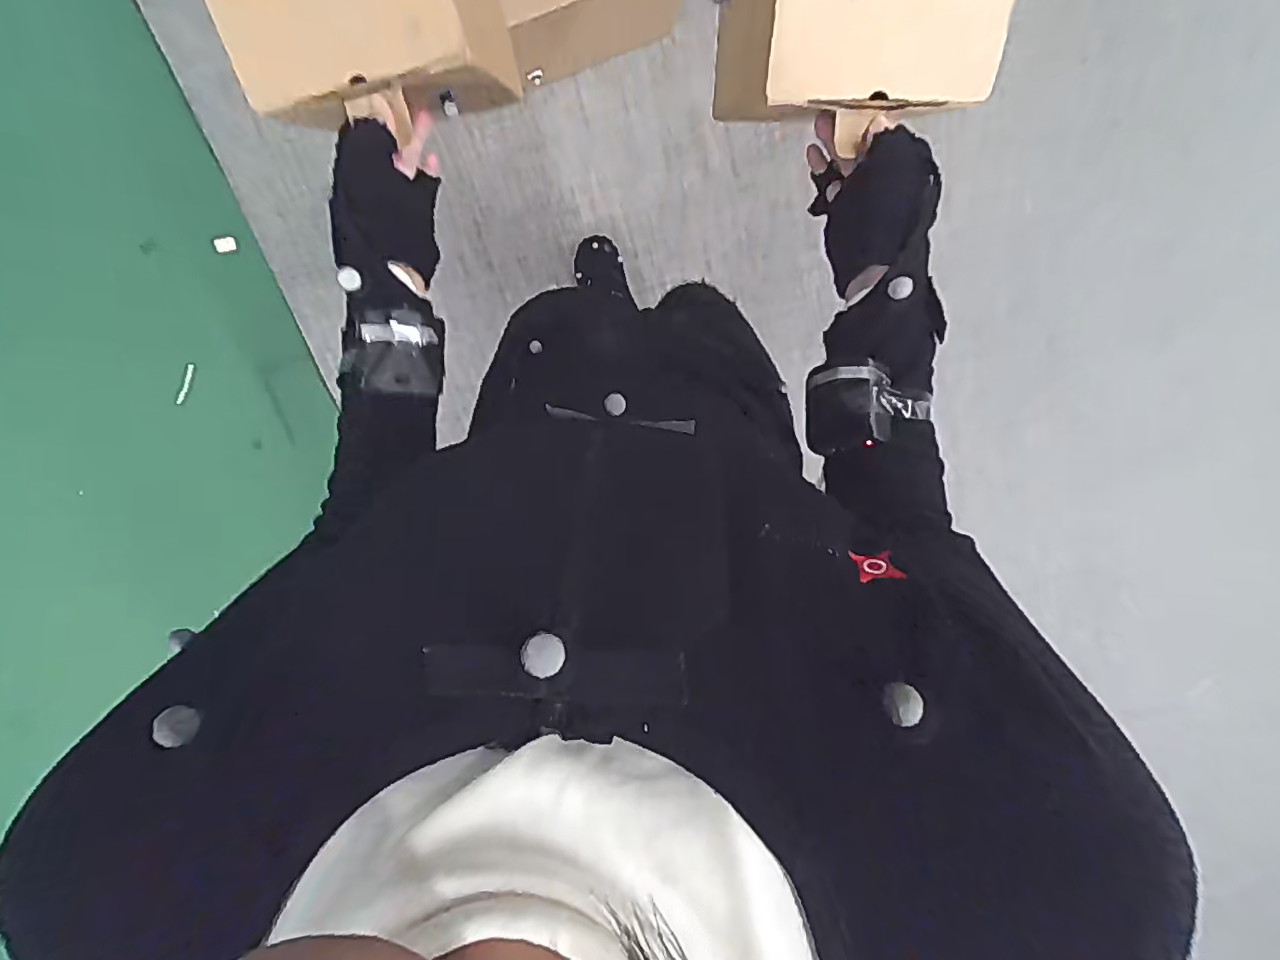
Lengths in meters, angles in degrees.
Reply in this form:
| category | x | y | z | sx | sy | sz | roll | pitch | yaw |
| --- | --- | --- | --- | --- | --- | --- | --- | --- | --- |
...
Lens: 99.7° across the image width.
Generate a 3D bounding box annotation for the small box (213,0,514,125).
| category | x | y | z | sx | sy | sz | roll | pitch | yaw |
| --- | --- | --- | --- | --- | --- | --- | --- | --- | --- |
| small box | -0.213 | -0.397 | 0.421 | 0.168 | 0.176 | 0.179 | -10 | 115 | 6 |
